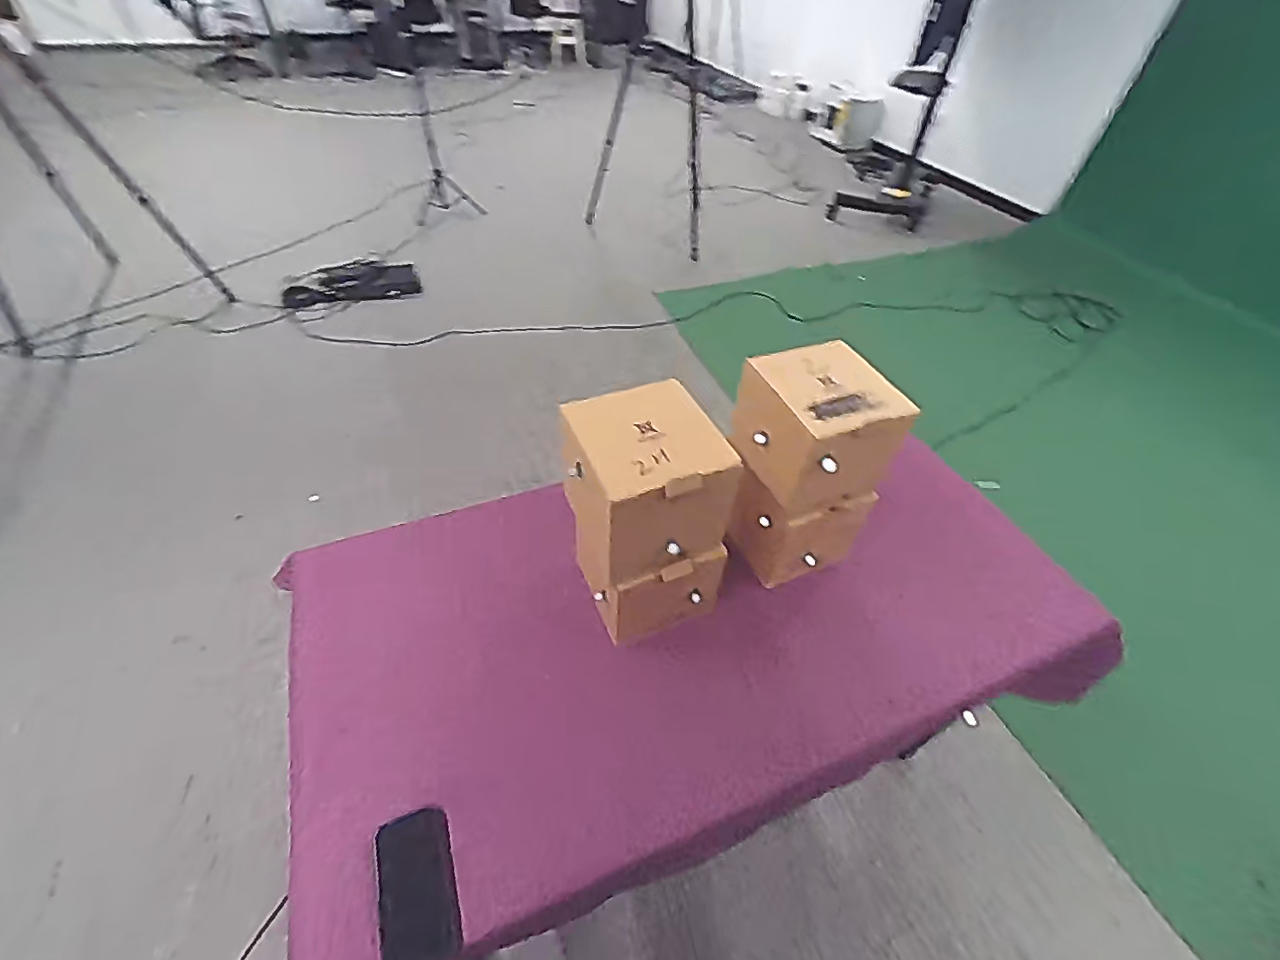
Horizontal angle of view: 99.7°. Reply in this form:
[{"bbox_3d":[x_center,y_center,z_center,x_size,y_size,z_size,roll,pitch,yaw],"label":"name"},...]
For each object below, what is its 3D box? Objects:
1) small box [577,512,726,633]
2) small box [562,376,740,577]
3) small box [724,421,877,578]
[{"bbox_3d":[0.010,0.110,0.823,0.168,0.176,0.179,-16,50,-18],"label":"small box"},{"bbox_3d":[0.004,-0.006,0.704,0.168,0.176,0.179,-17,51,-18],"label":"small box"},{"bbox_3d":[0.250,0.033,0.906,0.168,0.176,0.179,-16,52,-17],"label":"small box"}]
